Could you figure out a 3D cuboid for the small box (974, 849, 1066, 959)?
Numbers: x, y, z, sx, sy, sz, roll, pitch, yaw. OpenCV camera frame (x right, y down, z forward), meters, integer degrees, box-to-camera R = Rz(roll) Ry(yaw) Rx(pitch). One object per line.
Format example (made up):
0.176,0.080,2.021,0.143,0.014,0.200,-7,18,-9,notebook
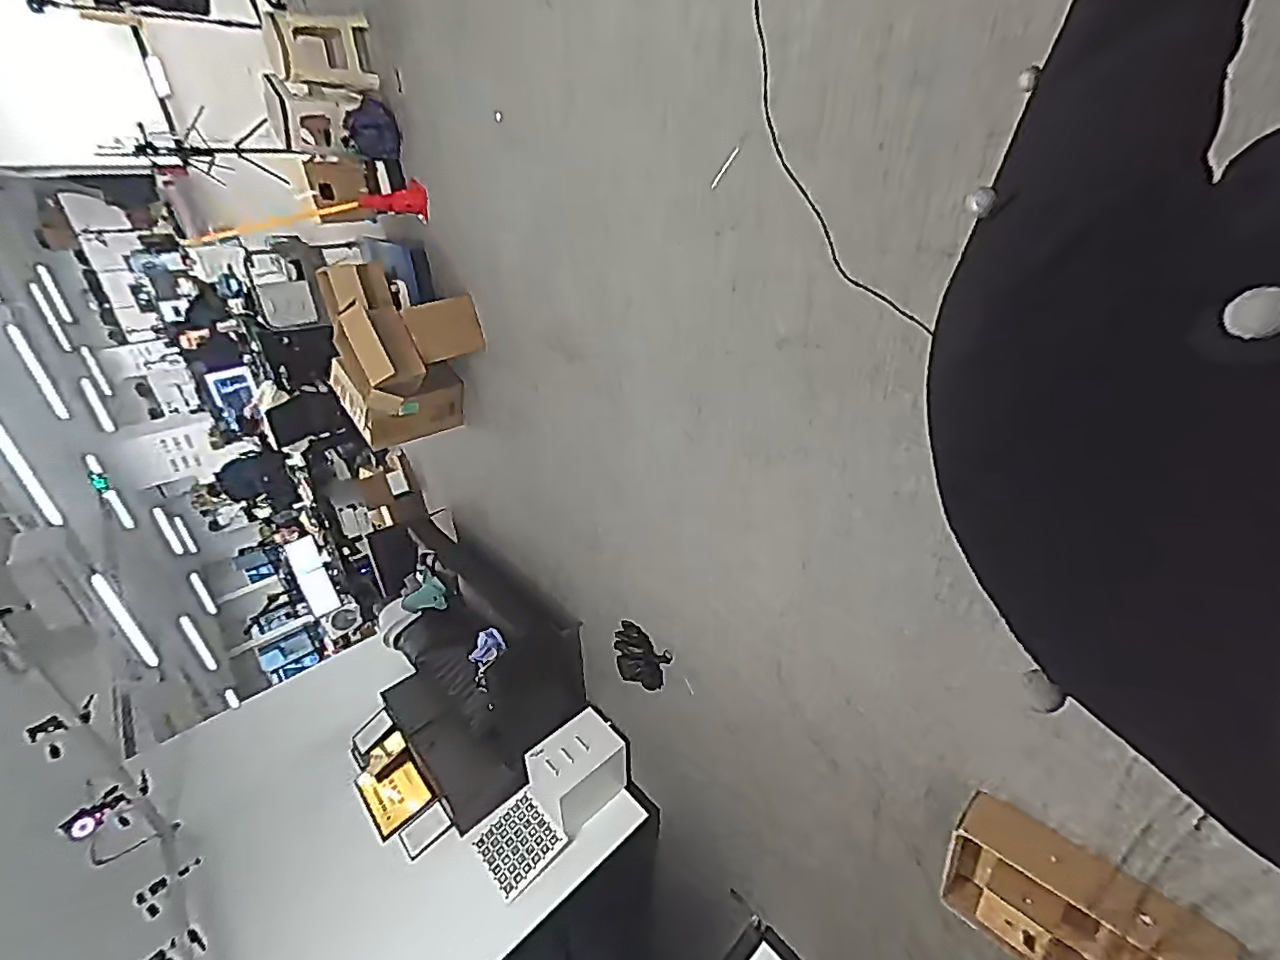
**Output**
1.156,1.284,1.644,0.179,0.176,0.168,22,127,44,small box

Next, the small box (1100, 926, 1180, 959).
1.346,1.354,1.447,0.179,0.176,0.168,18,125,47,small box
